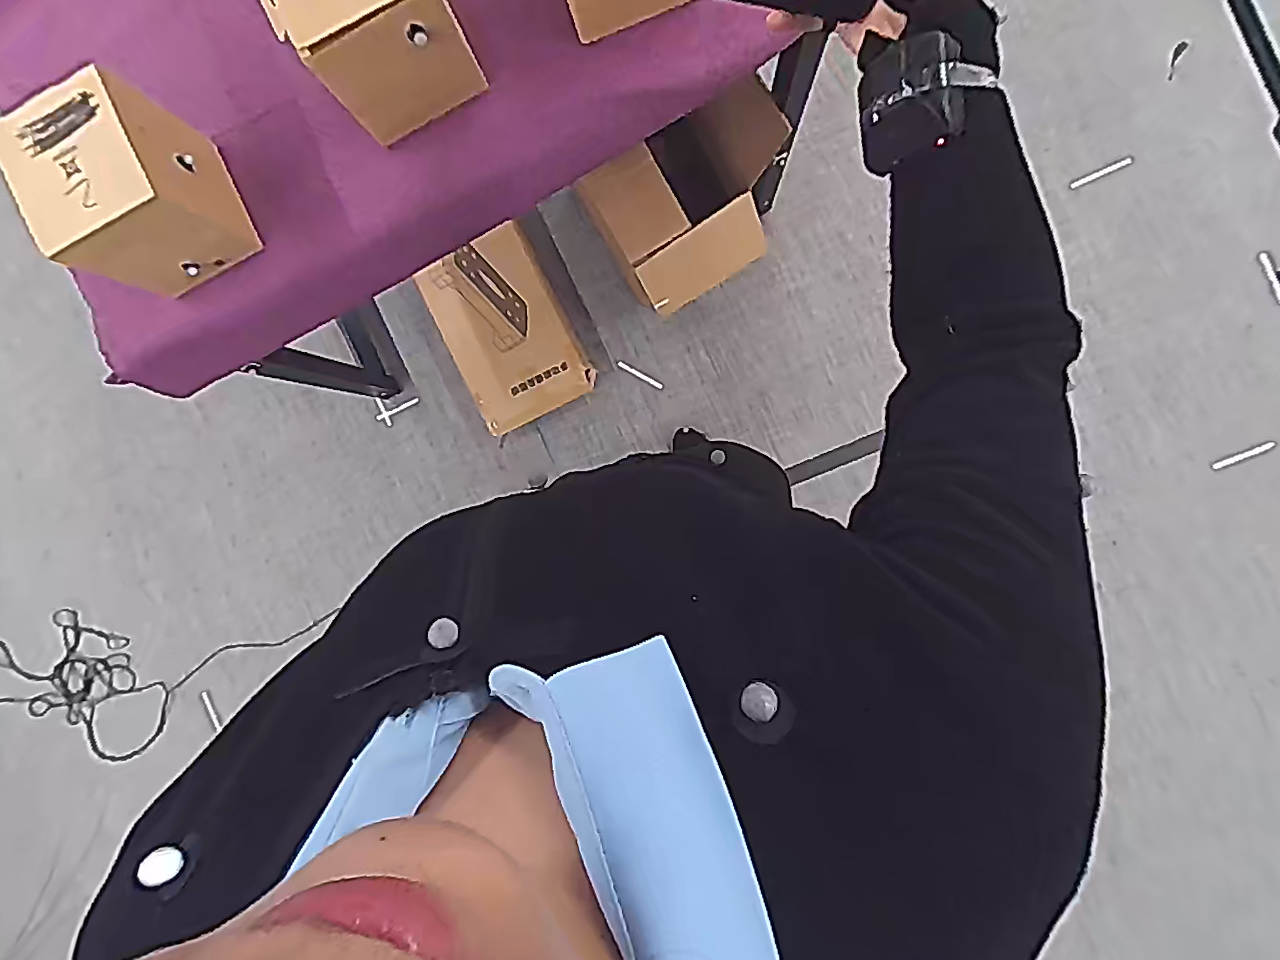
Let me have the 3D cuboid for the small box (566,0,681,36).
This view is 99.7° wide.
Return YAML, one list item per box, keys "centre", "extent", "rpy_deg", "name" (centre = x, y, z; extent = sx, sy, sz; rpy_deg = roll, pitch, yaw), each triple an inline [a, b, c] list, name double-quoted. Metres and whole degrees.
- centre: [-0.033, -0.696, 0.651]
  extent: [0.179, 0.176, 0.168]
  rpy_deg: [-19, 91, 5]
  name: "small box"

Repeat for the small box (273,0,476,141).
- centre: [-0.329, -0.580, 0.677]
  extent: [0.179, 0.176, 0.168]
  rpy_deg: [-26, 88, 5]
  name: "small box"
